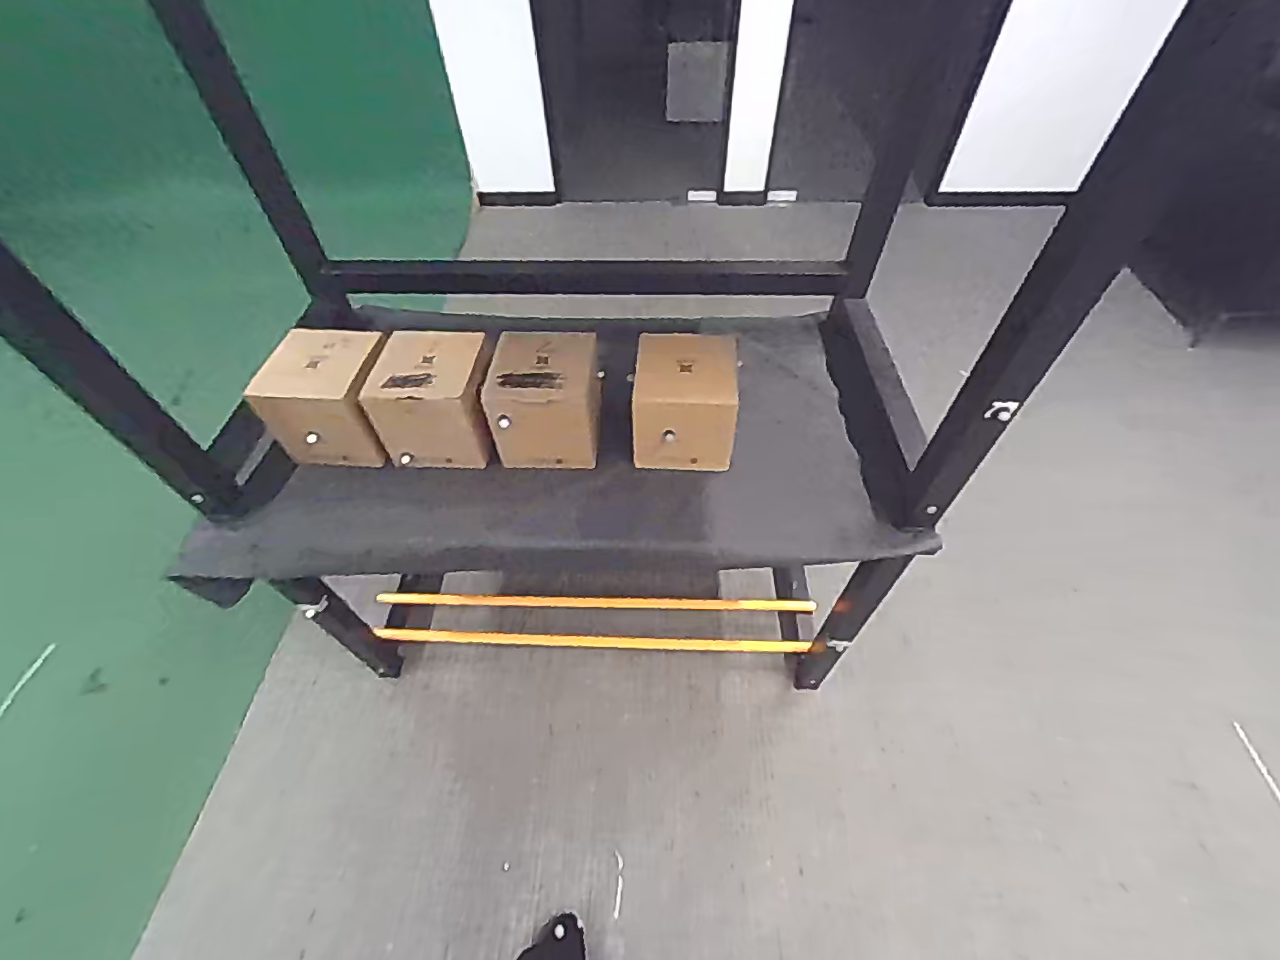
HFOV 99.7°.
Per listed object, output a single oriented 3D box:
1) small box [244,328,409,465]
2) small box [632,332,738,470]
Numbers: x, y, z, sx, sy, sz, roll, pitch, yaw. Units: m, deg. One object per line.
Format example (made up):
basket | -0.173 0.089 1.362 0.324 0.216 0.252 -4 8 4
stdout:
small box | -0.534 -0.144 0.956 0.168 0.176 0.179 4 51 3
small box | 0.077 -0.134 0.937 0.168 0.176 0.179 3 51 3
